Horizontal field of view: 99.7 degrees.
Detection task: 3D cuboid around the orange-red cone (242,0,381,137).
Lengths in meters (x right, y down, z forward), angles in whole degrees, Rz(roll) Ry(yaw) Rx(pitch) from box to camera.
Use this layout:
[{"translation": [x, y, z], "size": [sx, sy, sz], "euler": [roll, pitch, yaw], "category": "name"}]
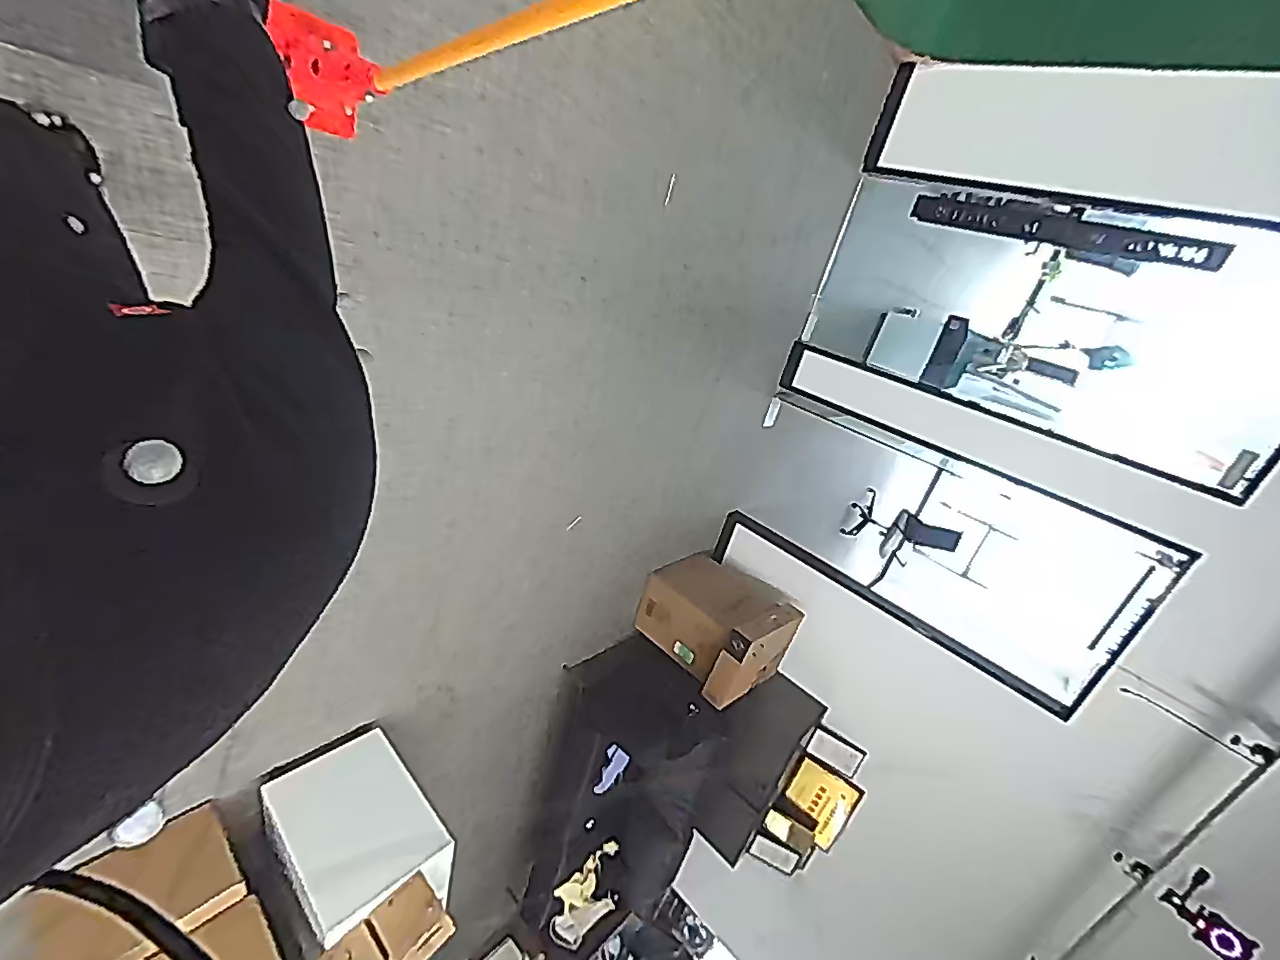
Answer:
[{"translation": [-0.583, -0.767, 1.018], "size": [0.199, 0.360, 0.198], "euler": [-9, 124, -47], "category": "orange-red cone"}]
